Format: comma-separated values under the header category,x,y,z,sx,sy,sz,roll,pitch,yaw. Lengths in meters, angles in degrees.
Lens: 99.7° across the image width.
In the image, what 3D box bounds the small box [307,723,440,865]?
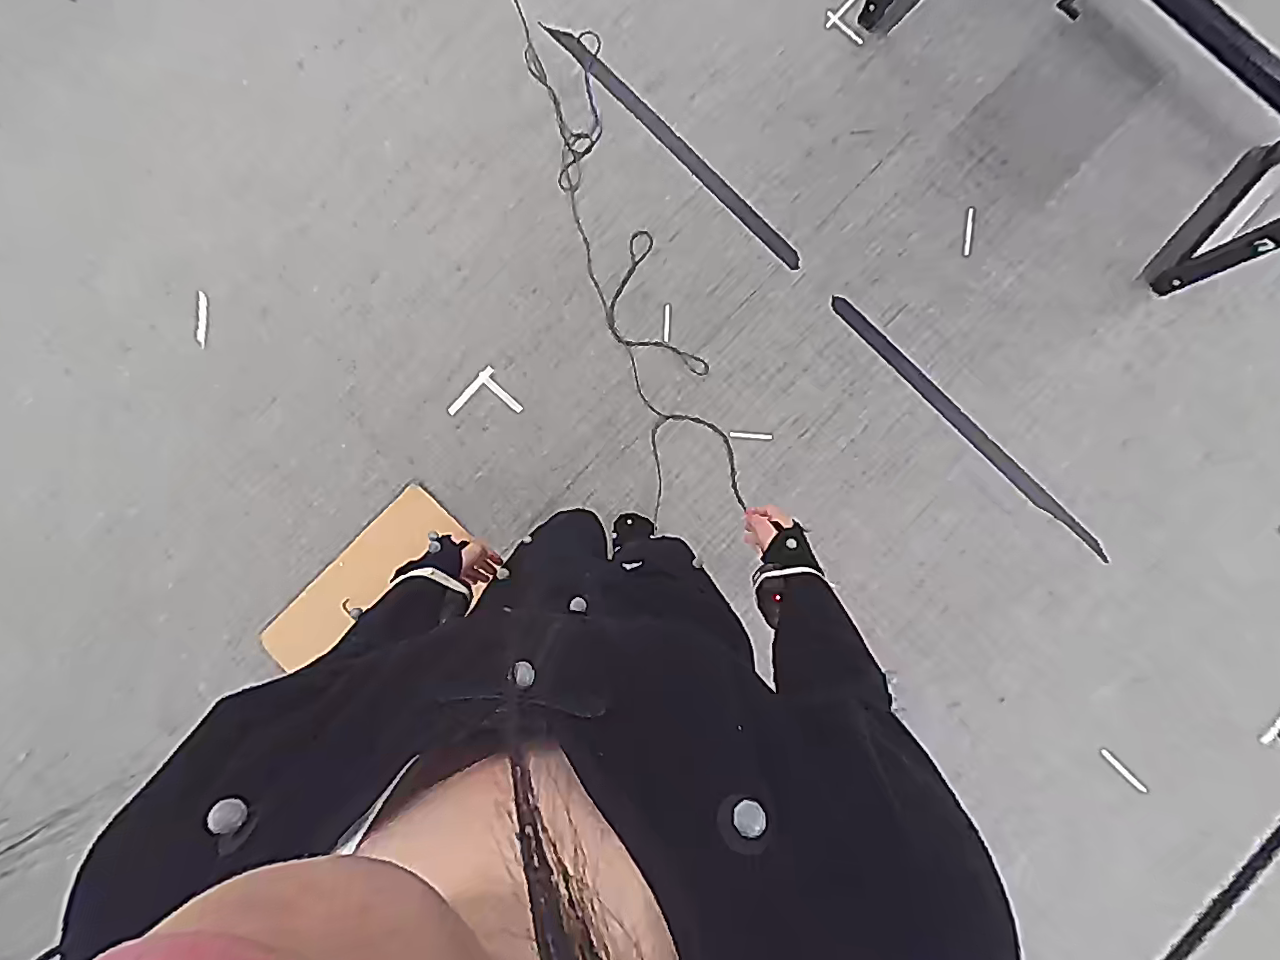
category,x,y,z,sx,sy,sz,roll,pitch,yaw
small box,-0.581,0.690,1.208,0.168,0.176,0.179,39,87,0
